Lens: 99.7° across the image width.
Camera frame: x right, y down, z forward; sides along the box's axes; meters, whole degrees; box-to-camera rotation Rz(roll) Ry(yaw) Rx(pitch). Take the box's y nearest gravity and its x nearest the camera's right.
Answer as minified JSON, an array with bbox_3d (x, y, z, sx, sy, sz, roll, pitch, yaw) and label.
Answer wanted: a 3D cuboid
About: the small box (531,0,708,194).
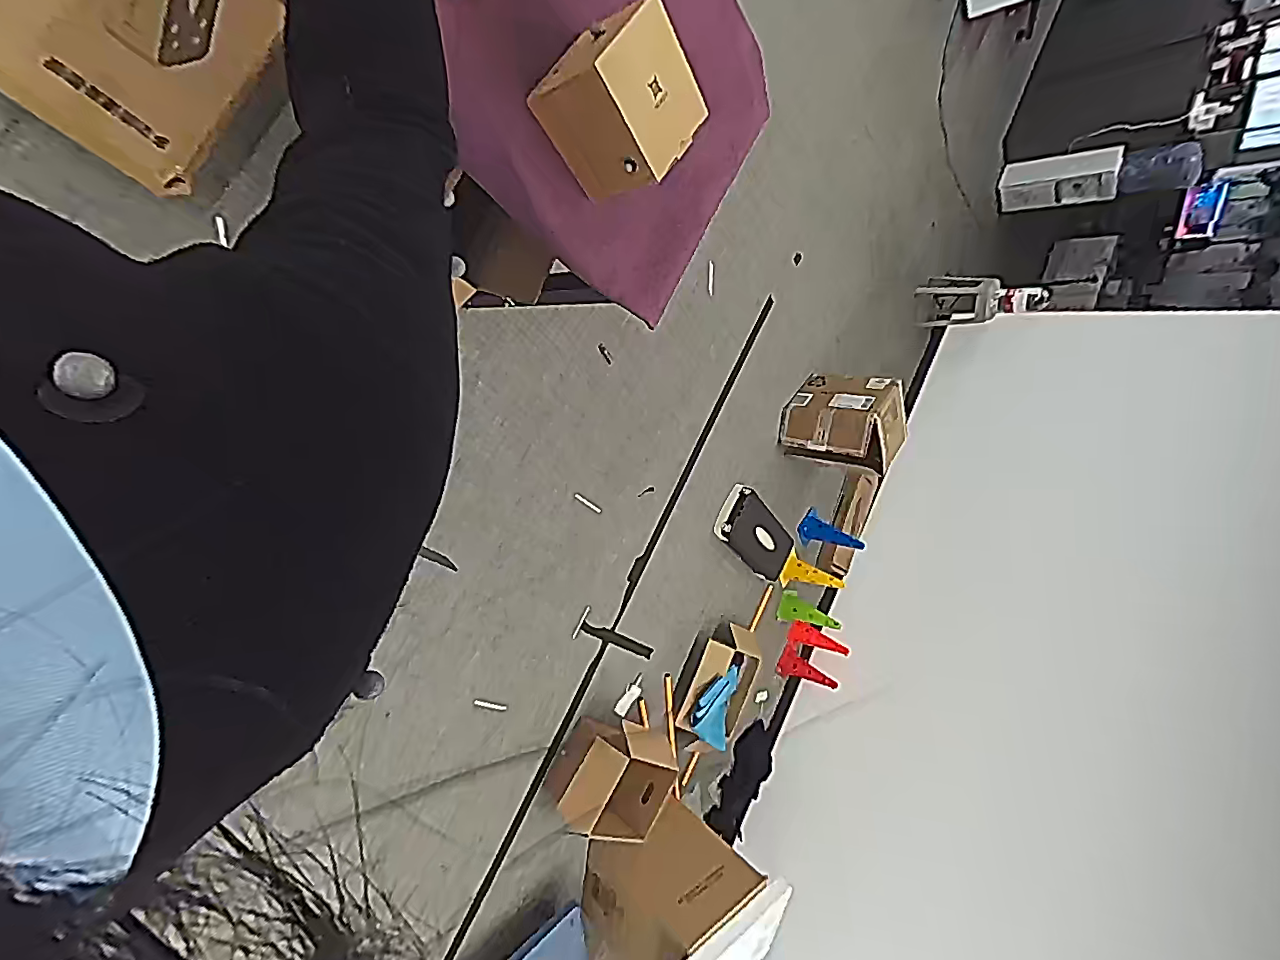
[{"bbox_3d":[-0.032,-0.572,0.826,0.179,0.176,0.168,46,69,-44],"label":"small box"}]
